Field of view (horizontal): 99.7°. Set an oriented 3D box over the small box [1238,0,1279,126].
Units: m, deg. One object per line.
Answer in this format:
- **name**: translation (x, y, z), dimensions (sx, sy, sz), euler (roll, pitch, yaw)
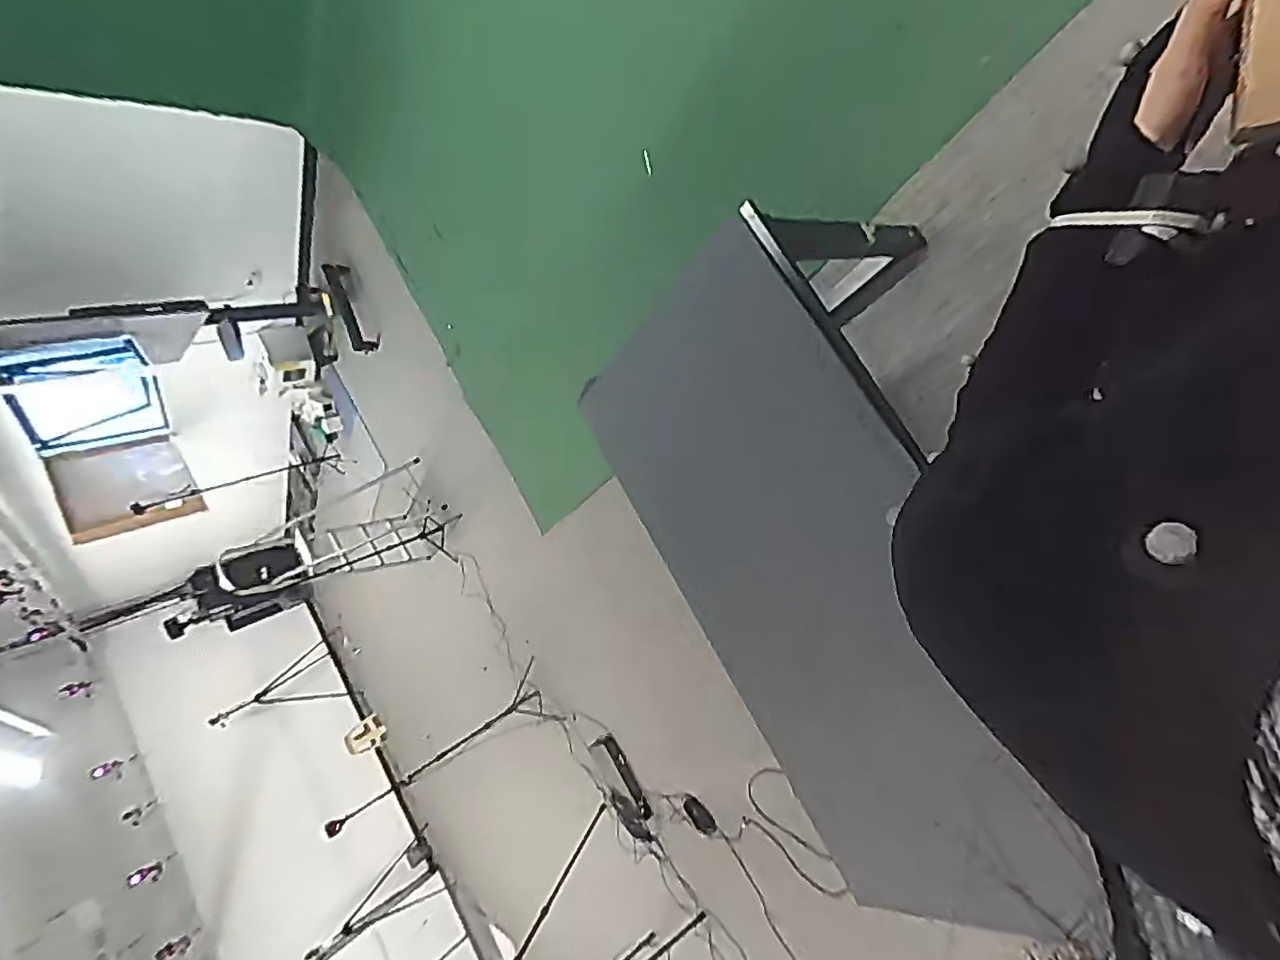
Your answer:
- **small box**: translation (0.408, -0.292, 0.249), dimensions (0.168, 0.176, 0.179), euler (5, 115, 45)
